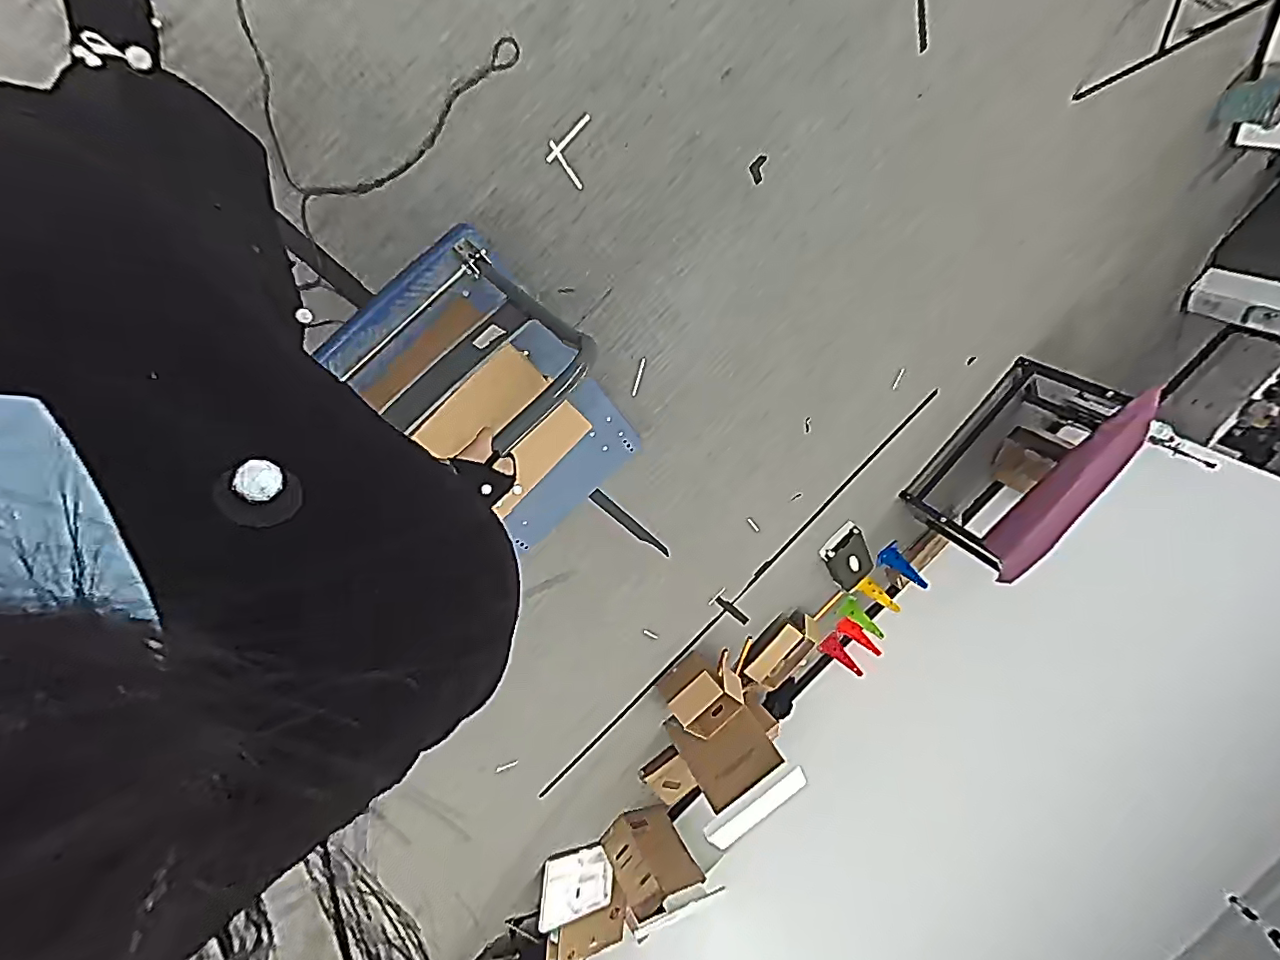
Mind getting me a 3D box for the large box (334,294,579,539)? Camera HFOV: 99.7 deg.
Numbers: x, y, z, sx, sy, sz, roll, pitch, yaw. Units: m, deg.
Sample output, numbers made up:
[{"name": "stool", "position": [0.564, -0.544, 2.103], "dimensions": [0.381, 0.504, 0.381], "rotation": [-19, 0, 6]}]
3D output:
[{"name": "large box", "position": [-0.427, -0.147, 1.264], "dimensions": [0.408, 0.320, 0.320], "rotation": [-45, 138, 1]}]
